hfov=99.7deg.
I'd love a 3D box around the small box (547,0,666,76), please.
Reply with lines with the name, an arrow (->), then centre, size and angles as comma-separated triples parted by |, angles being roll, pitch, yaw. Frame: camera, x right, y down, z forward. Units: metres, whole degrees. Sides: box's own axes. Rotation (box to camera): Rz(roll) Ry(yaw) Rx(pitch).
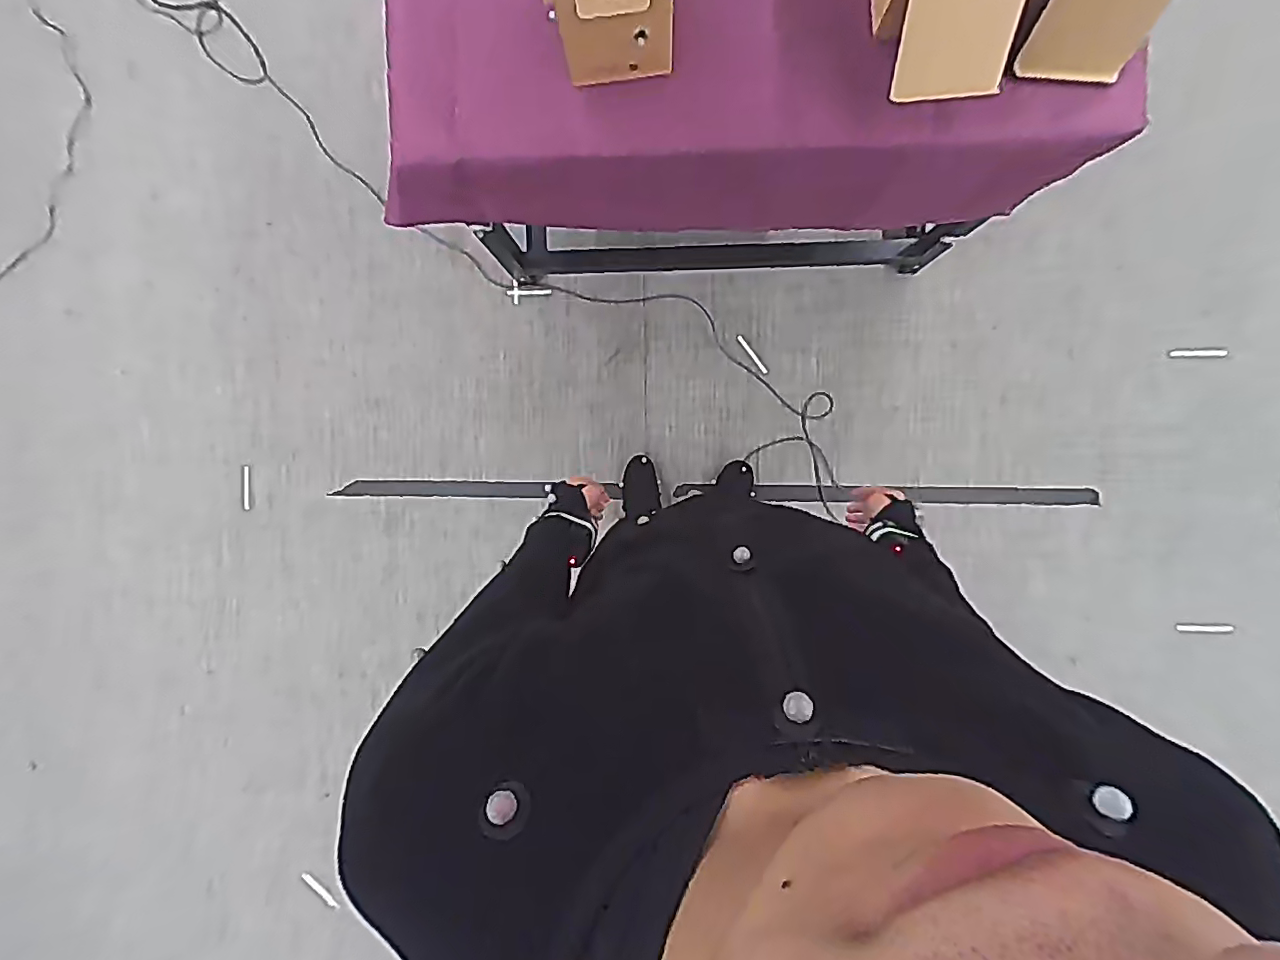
small box -> -0.048, -0.743, 0.806 | 0.168, 0.176, 0.179 | -5, 92, 2

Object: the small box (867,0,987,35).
small box -> 0.437, -0.798, 0.779 | 0.168, 0.176, 0.179 | -3, 93, 4
